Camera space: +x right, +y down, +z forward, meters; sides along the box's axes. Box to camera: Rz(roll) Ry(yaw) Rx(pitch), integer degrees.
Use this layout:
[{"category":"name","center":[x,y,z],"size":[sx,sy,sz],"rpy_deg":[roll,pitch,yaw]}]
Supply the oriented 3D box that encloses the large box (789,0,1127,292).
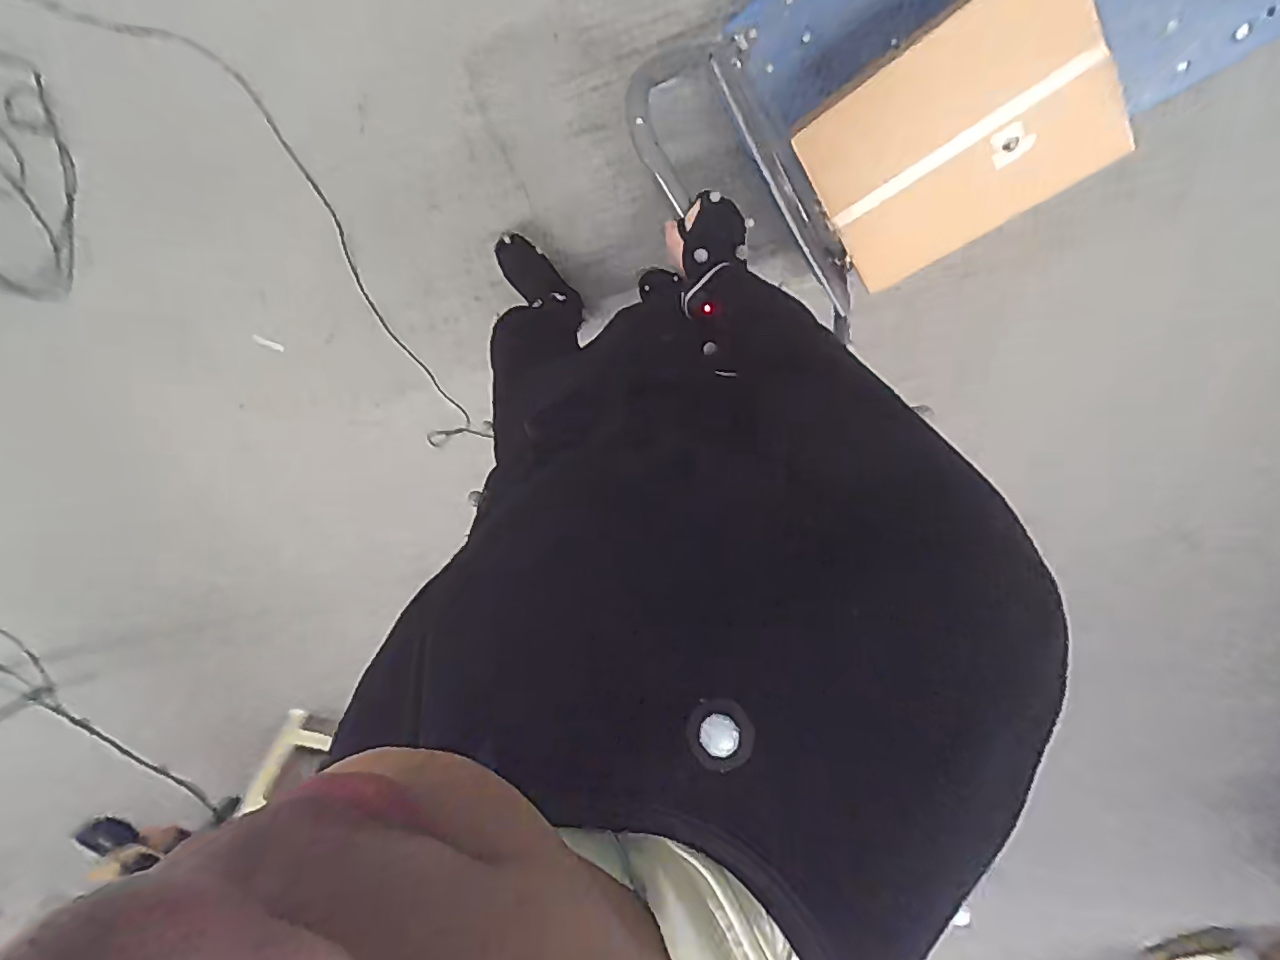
[{"category":"large box","center":[0.522,-0.617,0.972],"size":[0.408,0.320,0.320],"rpy_deg":[-26,116,30]}]
